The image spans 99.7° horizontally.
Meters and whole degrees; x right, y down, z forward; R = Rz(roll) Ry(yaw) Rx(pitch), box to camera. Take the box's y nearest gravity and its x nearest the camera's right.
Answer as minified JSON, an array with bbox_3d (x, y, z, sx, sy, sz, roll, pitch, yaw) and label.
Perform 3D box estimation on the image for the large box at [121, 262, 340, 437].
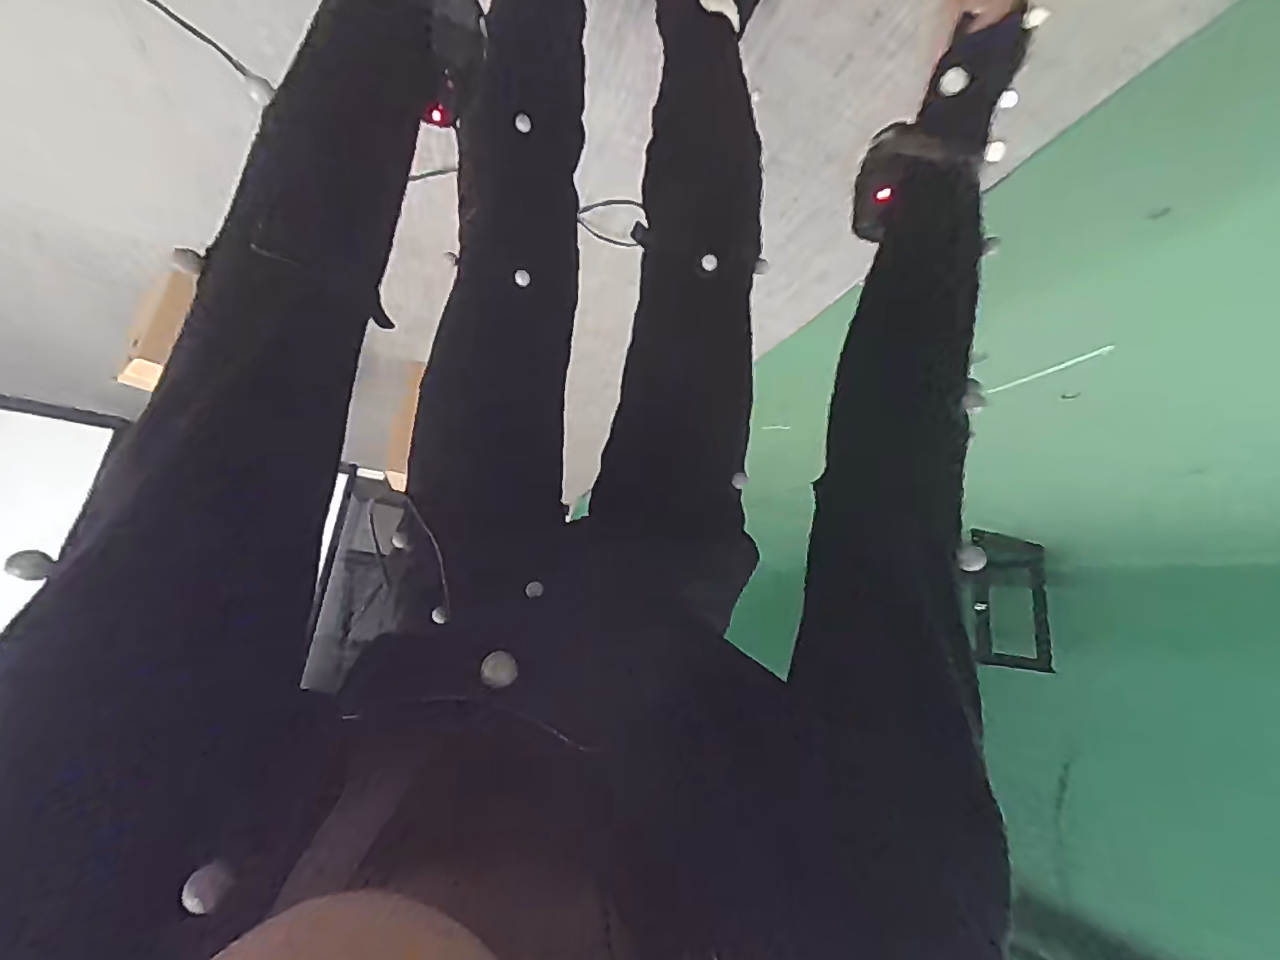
[{"bbox_3d":[-1.188,-0.357,1.594,0.320,0.320,0.408,-6,157,39],"label":"large box"}]
